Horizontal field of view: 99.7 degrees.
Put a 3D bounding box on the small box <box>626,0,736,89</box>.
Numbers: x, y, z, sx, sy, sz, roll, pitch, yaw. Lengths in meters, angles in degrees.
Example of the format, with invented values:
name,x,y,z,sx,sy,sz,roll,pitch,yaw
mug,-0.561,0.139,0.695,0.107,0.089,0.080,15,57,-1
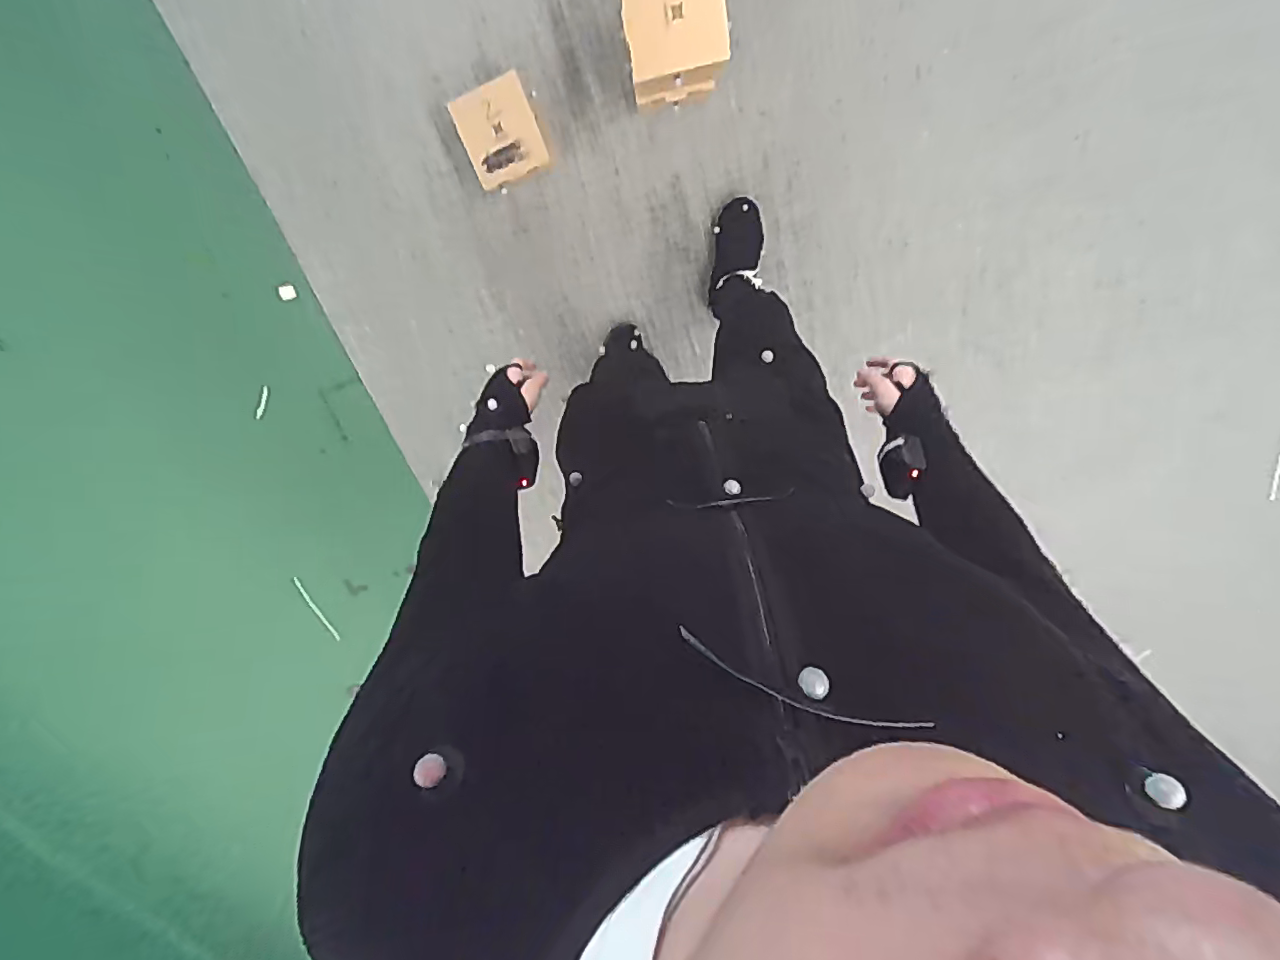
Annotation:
name,x,y,z,sx,sy,sz,roll,pitch,yaw
small box,0.071,-0.836,0.979,0.179,0.176,0.168,-8,118,9

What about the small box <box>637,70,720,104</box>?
name,x,y,z,sx,sy,sz,roll,pitch,yaw
small box,0.073,-0.905,1.127,0.168,0.176,0.179,-7,119,7
